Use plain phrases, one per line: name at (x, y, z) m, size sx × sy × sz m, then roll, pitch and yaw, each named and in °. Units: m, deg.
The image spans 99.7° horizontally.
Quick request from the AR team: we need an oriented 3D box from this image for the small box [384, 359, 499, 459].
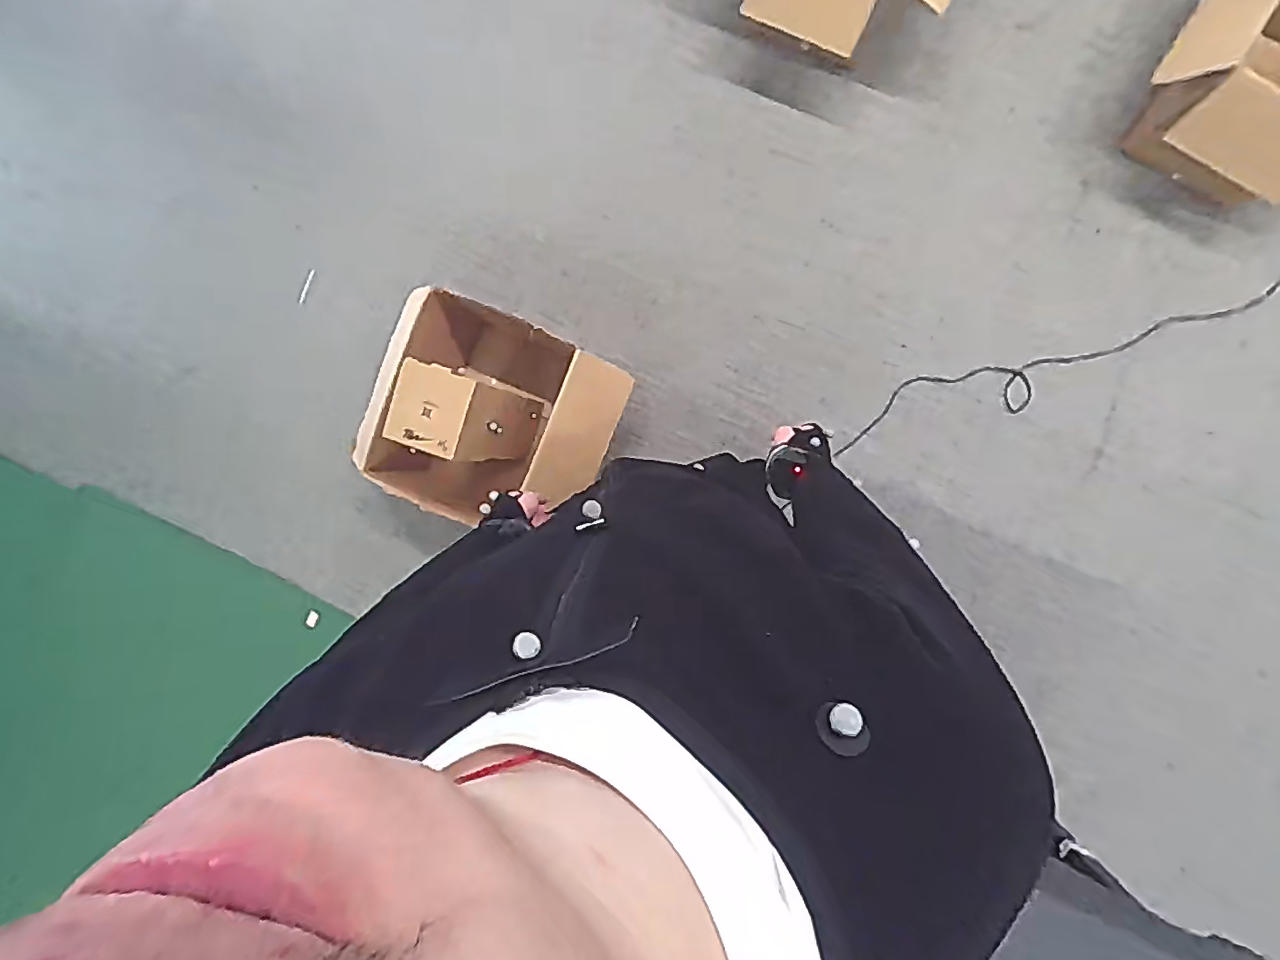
small box at (-0.431, -0.152, 1.207) m, size 0.168 × 0.176 × 0.179 m, roll 17°, pitch 94°, yaw 5°
